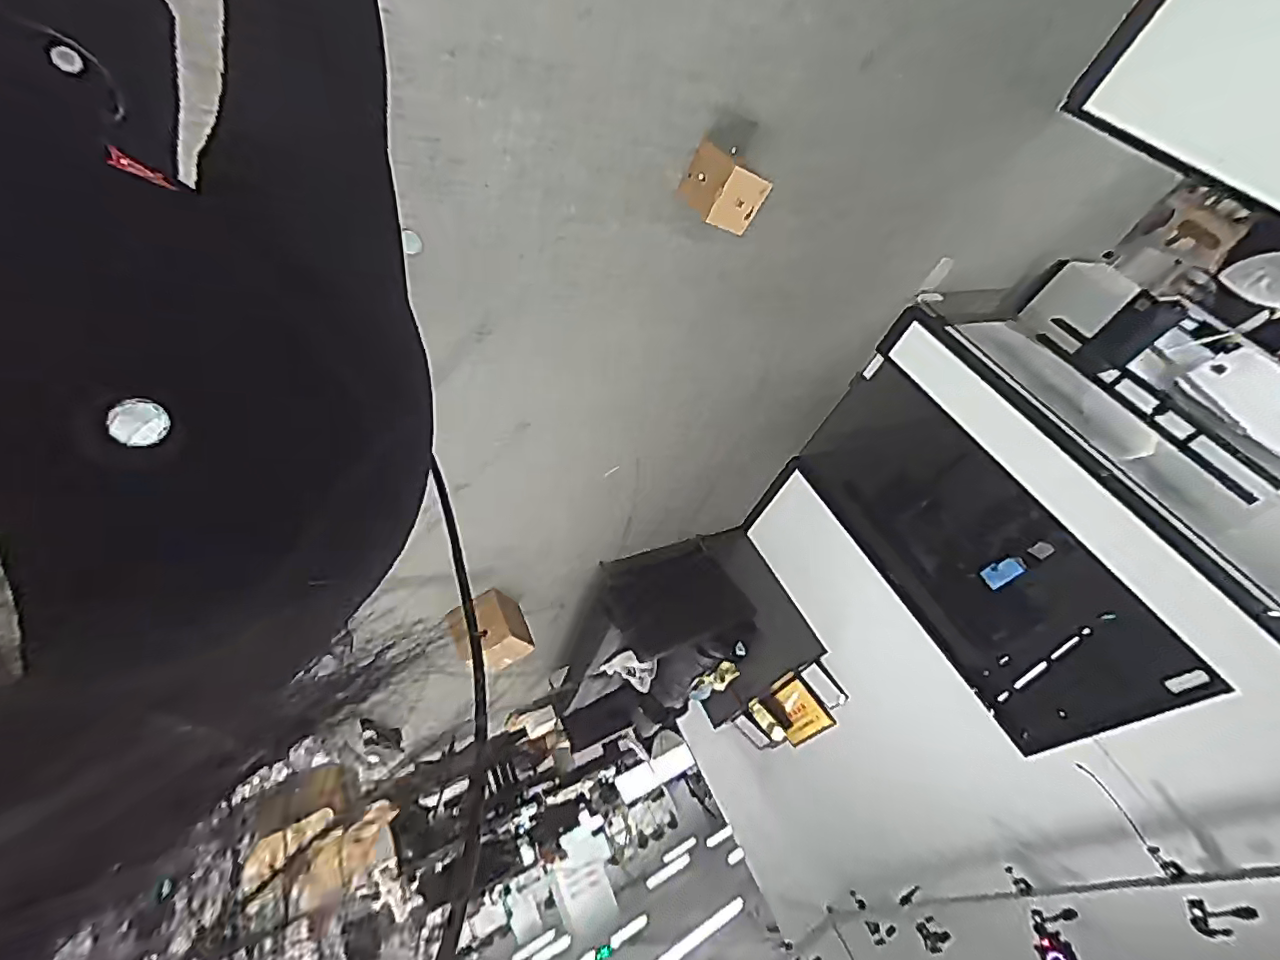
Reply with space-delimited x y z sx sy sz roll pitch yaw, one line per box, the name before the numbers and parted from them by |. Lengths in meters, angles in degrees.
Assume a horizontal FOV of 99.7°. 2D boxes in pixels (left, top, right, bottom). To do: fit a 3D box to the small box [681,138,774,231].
small box | 0.253 -0.879 1.604 0.179 0.176 0.168 -3 142 -40
